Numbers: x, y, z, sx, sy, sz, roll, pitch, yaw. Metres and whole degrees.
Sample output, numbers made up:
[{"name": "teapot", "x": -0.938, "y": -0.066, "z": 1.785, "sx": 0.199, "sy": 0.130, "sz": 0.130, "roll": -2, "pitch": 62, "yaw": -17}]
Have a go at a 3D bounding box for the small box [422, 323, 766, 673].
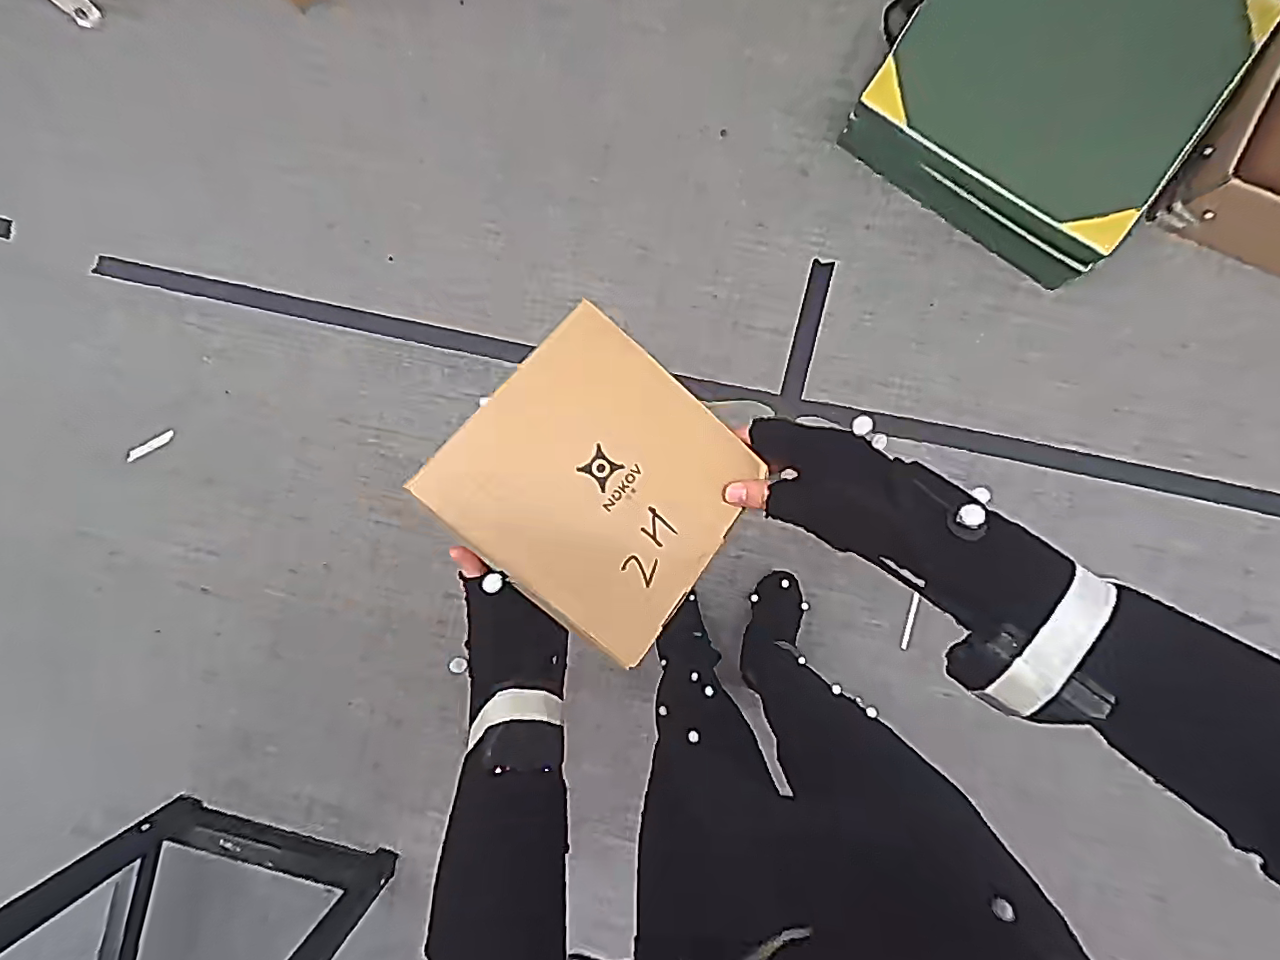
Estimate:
[{"name": "small box", "x": -0.045, "y": 0.017, "z": 0.428, "sx": 0.179, "sy": 0.176, "sz": 0.168, "roll": 46, "pitch": 73, "yaw": -10}]
